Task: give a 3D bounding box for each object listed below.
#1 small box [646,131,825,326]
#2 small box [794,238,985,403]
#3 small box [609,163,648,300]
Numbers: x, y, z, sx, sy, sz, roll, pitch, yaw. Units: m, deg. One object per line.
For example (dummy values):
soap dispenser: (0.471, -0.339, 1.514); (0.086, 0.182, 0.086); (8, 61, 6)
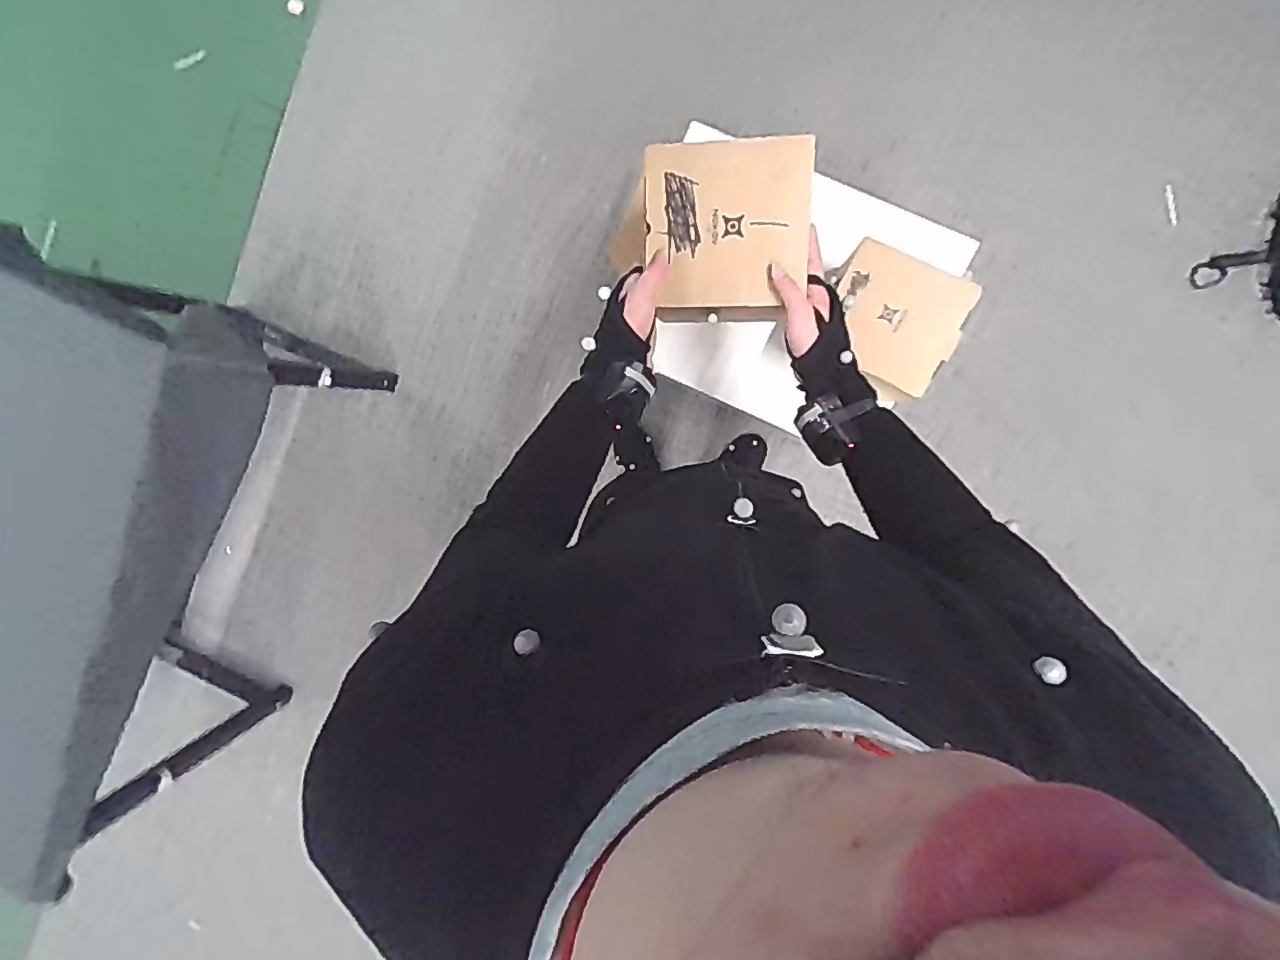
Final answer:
small box: (0.104, -0.272, 0.624); (0.179, 0.176, 0.168); (0, 101, 7)
small box: (0.357, -0.227, 0.812); (0.179, 0.176, 0.168); (26, 98, 2)
small box: (0.072, -0.356, 0.824); (0.179, 0.176, 0.168); (22, 97, 2)
